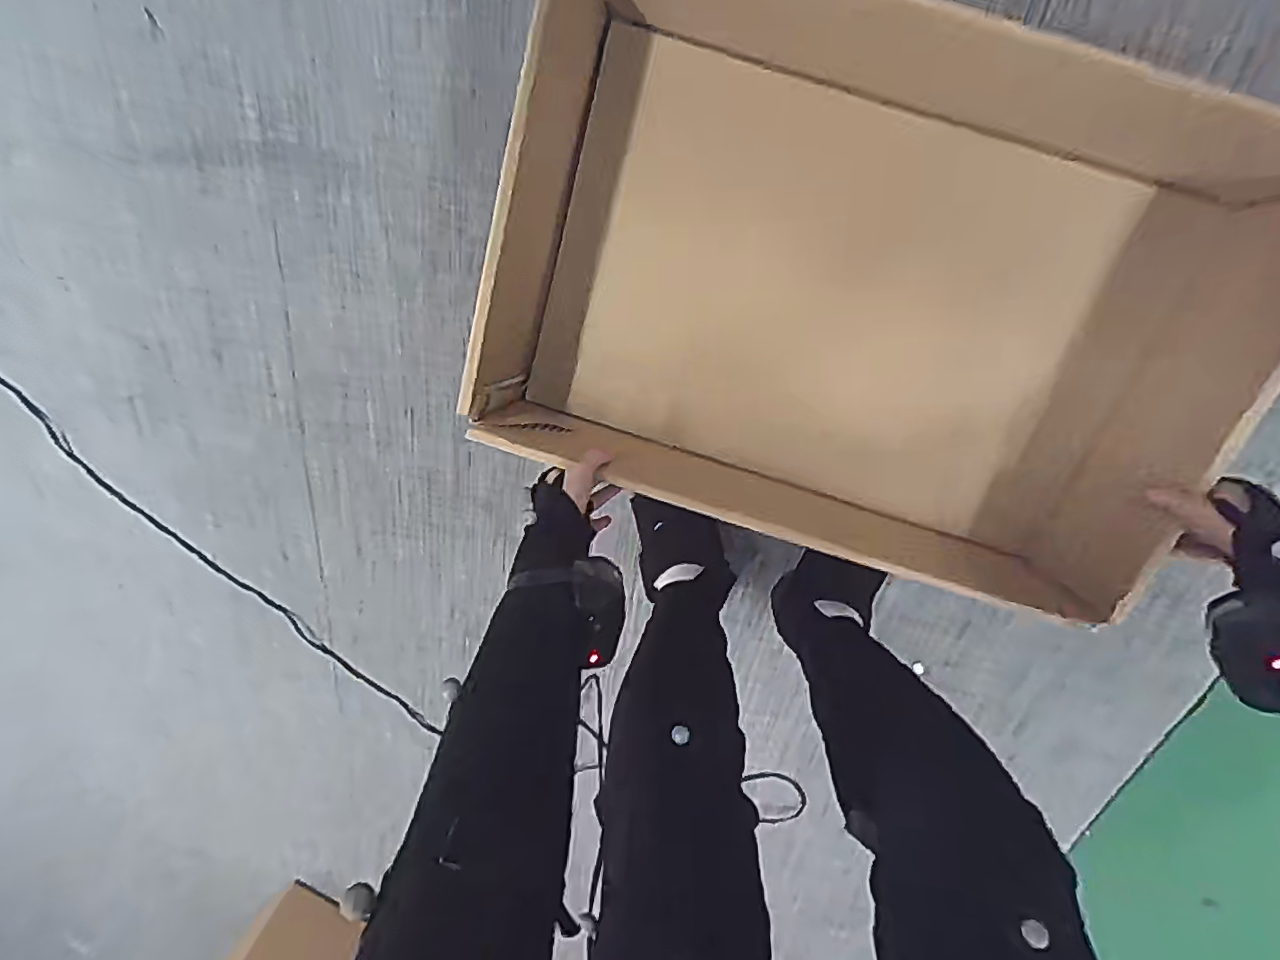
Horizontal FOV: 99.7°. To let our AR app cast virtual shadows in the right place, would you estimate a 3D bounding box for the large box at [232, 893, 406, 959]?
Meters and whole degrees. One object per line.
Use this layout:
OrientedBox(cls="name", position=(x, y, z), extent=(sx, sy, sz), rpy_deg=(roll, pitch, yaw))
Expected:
OrientedBox(cls="large box", position=(-0.800, 1.274, 1.257), extent=(0.408, 0.320, 0.320), rpy_deg=(39, 113, -8))
